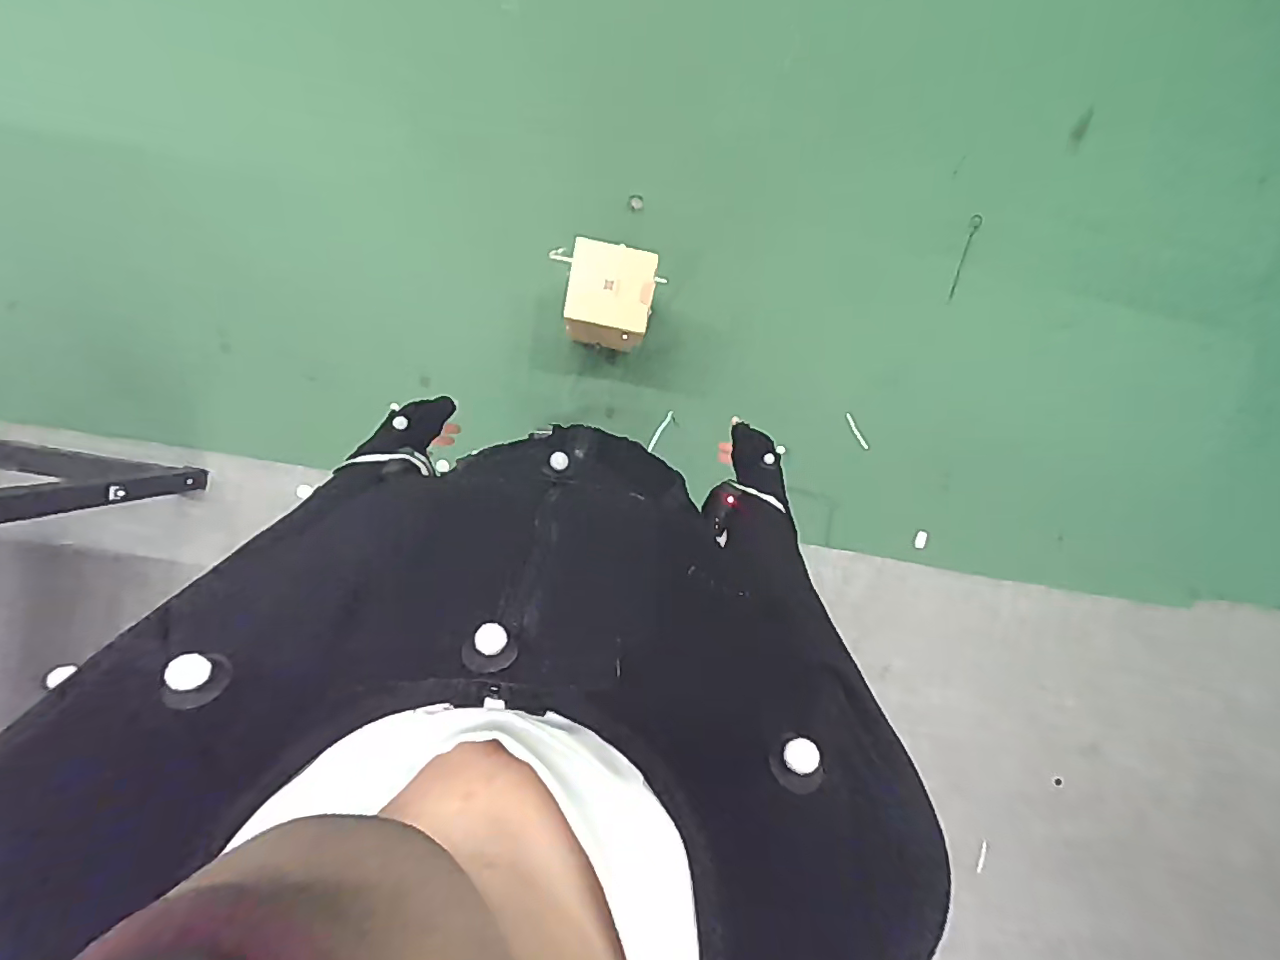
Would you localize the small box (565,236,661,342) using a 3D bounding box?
[{"bbox_3d":[-0.061,-0.410,1.191,0.179,0.176,0.168,10,95,-6],"label":"small box"}]
